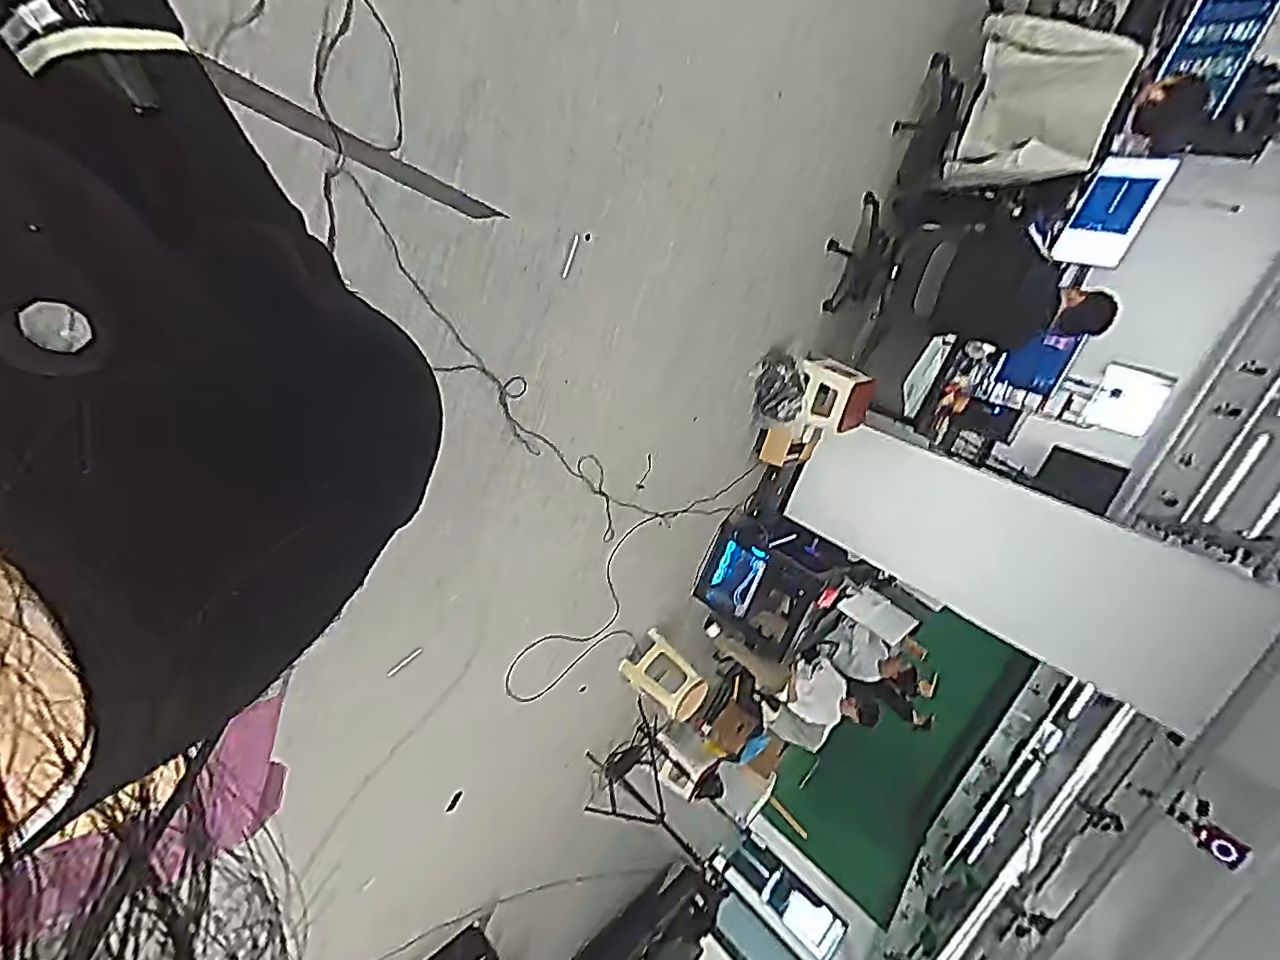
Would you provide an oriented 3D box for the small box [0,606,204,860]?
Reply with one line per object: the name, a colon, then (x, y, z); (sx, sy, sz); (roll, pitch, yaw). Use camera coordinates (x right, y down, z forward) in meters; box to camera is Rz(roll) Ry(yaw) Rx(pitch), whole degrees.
small box: (-0.642, 0.277, 0.633); (0.168, 0.176, 0.179); (-2, 118, -52)
